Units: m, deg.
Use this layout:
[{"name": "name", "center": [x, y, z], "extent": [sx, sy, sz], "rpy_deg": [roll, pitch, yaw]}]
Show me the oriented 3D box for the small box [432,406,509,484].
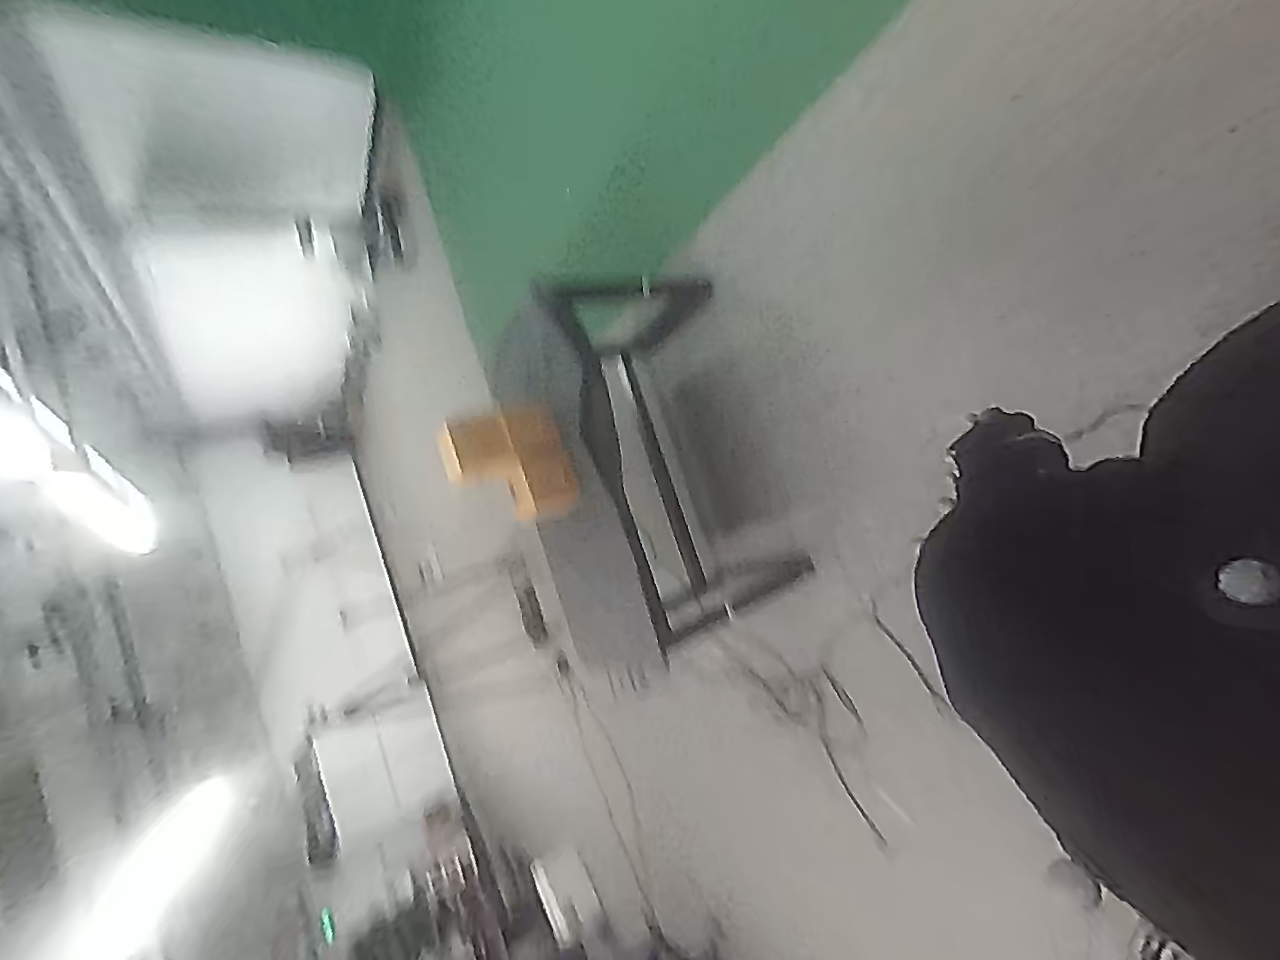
[{"name": "small box", "center": [-0.525, -0.110, 1.676], "extent": [0.168, 0.176, 0.179], "rpy_deg": [-32, 77, 55]}]
